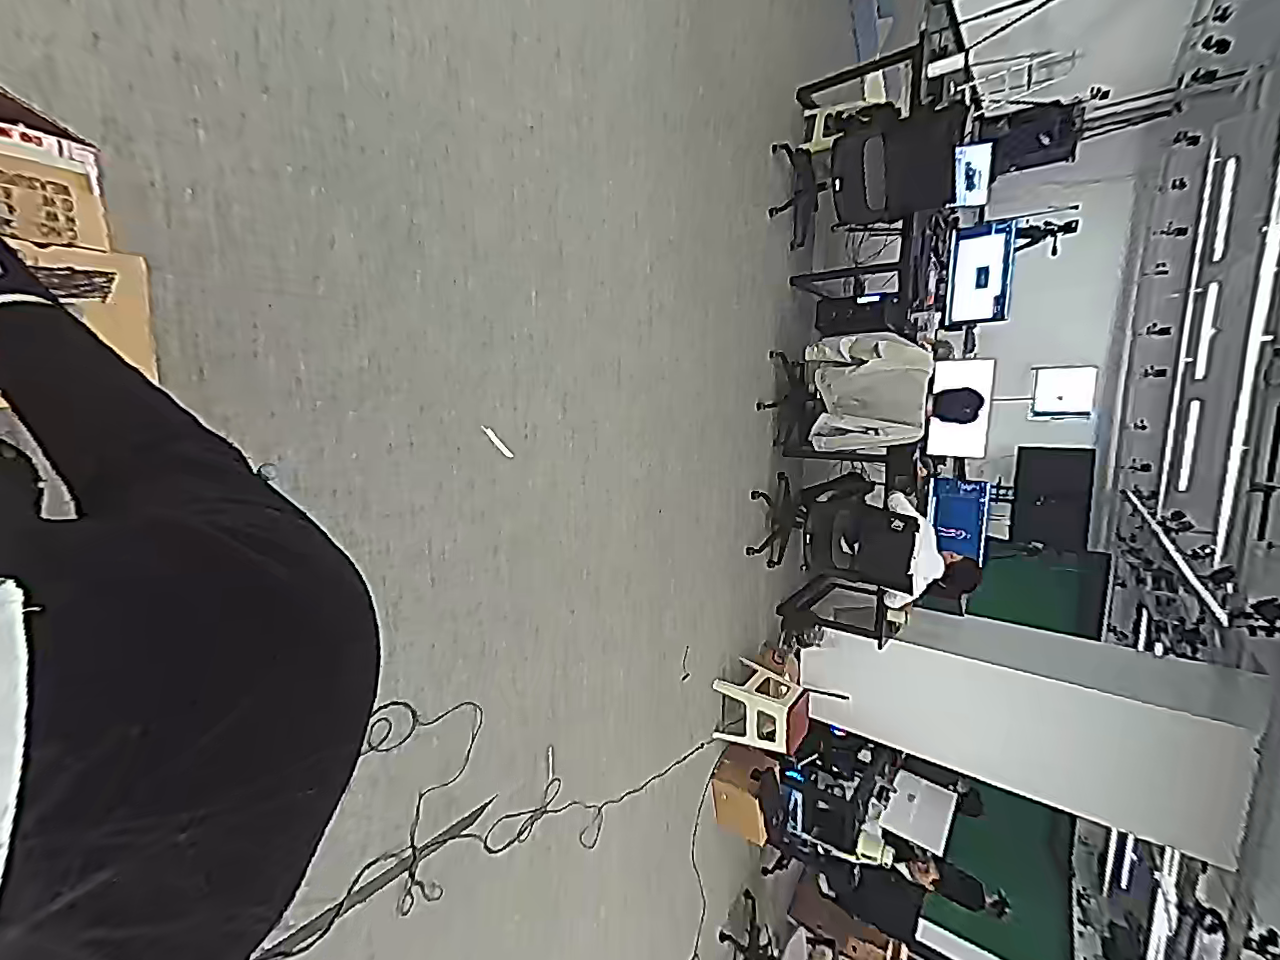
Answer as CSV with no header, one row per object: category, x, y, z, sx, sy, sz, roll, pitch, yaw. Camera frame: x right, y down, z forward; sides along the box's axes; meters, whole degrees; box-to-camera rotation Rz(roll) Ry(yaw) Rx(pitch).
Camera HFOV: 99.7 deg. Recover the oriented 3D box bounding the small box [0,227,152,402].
small box,-0.698,-0.181,0.619,0.168,0.176,0.179,-11,106,-53
